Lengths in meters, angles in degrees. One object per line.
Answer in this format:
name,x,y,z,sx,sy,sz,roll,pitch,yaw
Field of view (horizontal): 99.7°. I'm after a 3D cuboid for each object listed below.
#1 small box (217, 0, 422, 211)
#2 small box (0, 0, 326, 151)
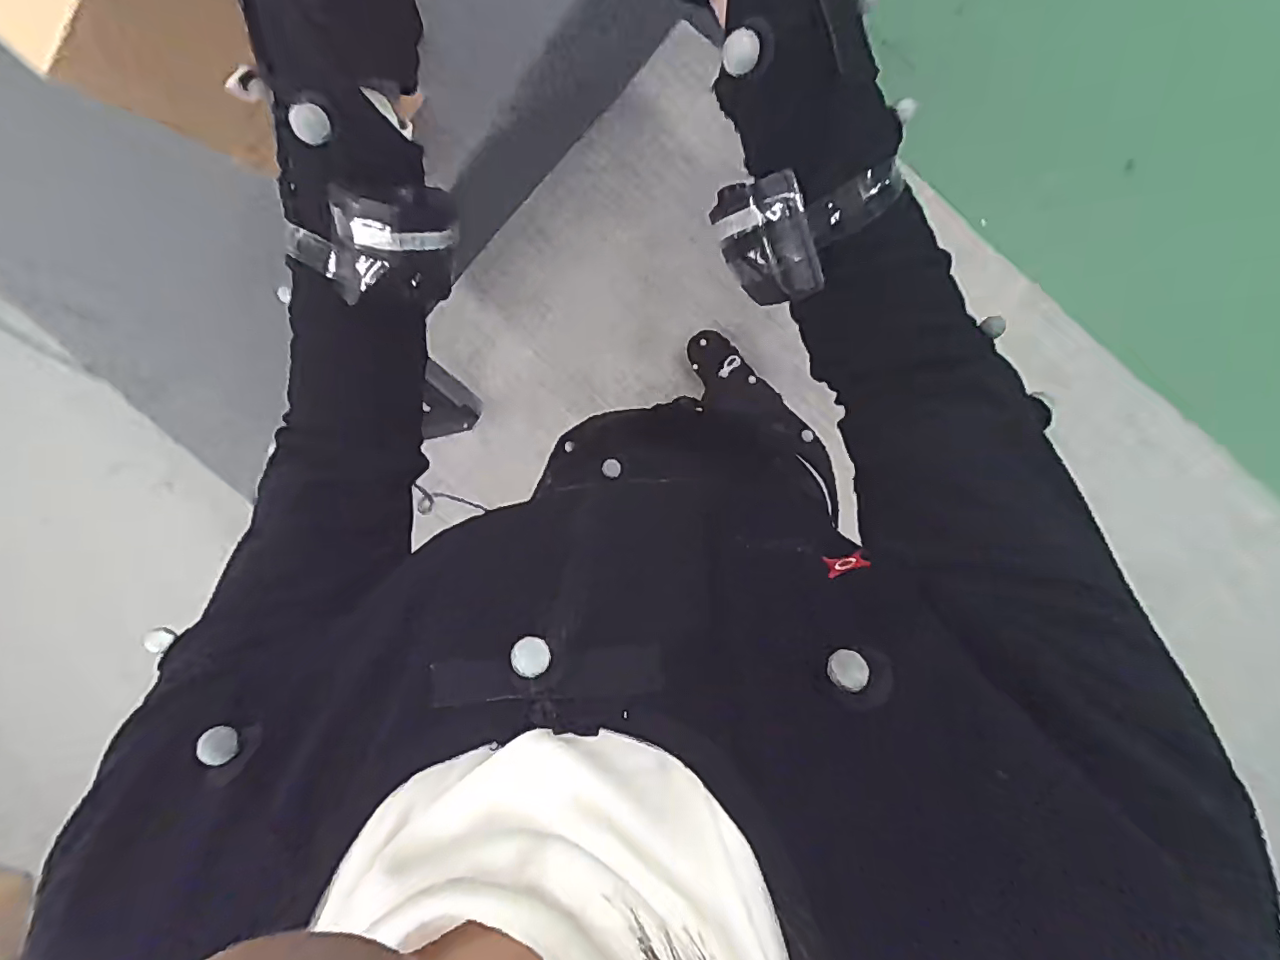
small box,-0.383,-0.440,0.604,0.168,0.176,0.179,42,103,-2
small box,-0.406,-0.408,0.430,0.179,0.176,0.168,40,105,-2
